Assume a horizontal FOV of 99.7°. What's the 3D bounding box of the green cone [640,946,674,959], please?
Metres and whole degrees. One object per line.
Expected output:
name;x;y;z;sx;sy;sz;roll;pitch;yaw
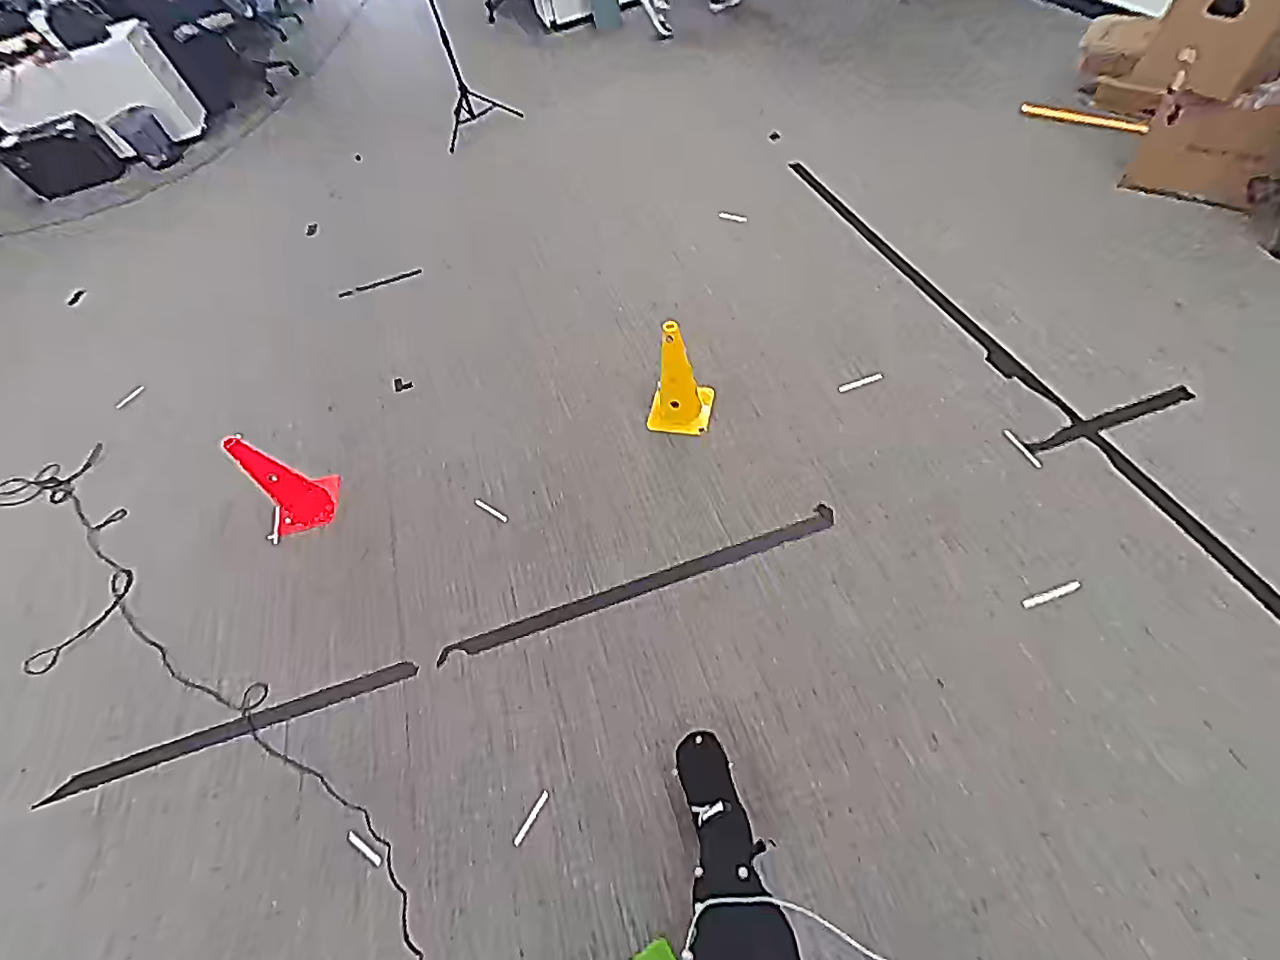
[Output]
green cone;-0.011;0.936;0.861;0.202;0.368;0.200;-33;57;-11

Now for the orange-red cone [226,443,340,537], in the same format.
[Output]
orange-red cone;-1.145;0.002;1.694;0.199;0.360;0.198;-13;56;0
